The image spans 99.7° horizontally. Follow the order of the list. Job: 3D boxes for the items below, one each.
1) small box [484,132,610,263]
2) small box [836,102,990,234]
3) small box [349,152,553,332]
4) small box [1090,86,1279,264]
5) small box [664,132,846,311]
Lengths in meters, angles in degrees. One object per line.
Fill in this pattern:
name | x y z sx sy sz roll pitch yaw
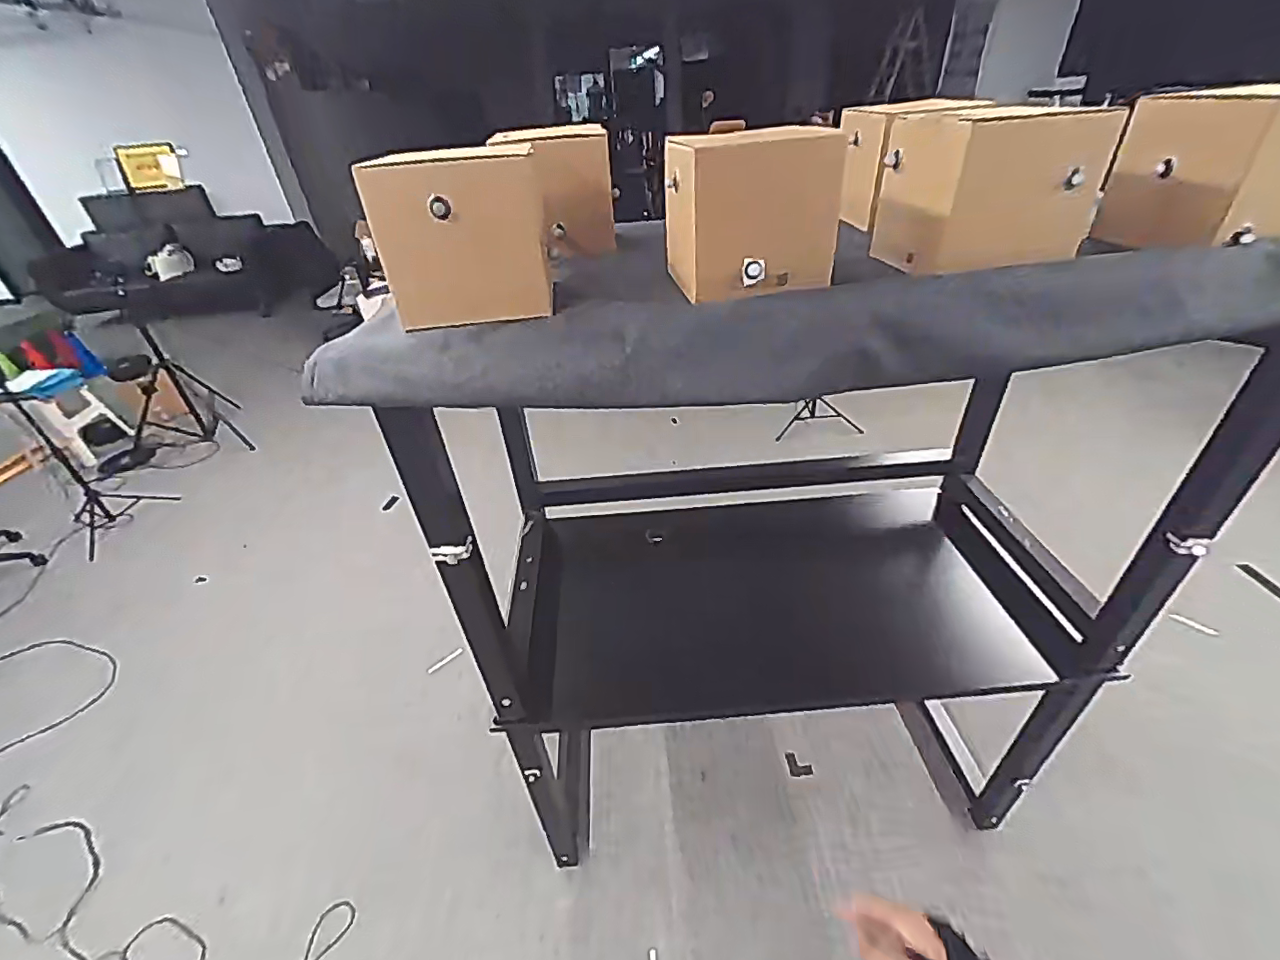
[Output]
small box | -0.140 -0.459 0.884 0.179 0.176 0.168 -6 36 -3
small box | 0.434 -0.518 0.903 0.168 0.176 0.179 -6 36 -1
small box | -0.206 -0.285 0.647 0.179 0.176 0.168 -7 35 -4
small box | 0.719 -0.370 0.661 0.168 0.176 0.179 -7 35 -3
small box | 0.124 -0.315 0.656 0.168 0.176 0.179 -8 35 -4
